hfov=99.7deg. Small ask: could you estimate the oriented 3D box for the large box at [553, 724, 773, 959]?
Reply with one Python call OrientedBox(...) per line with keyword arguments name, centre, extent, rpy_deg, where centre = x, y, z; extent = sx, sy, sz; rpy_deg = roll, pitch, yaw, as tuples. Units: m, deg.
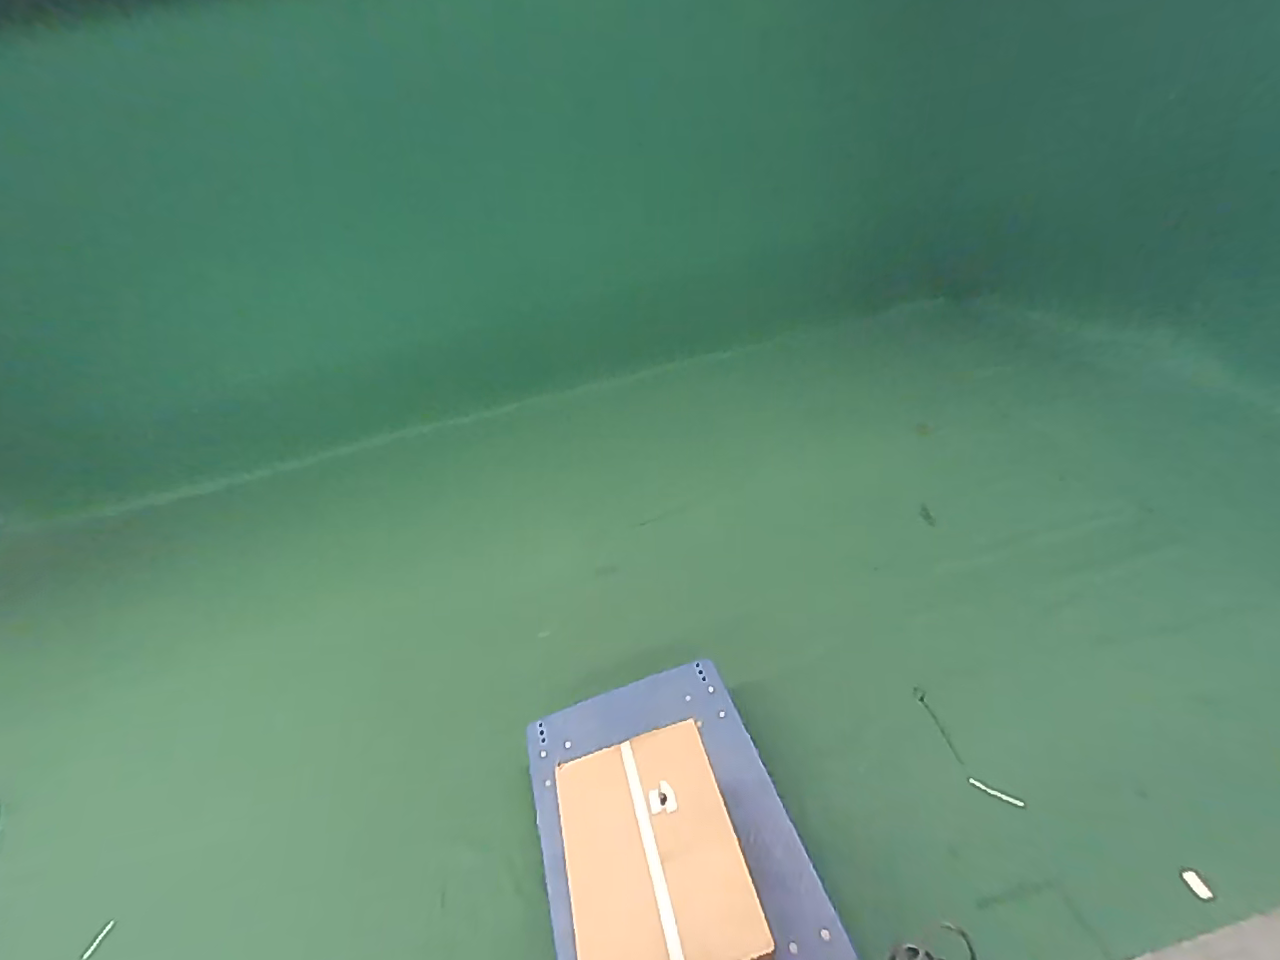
OrientedBox(name="large box", centre=(0.040, 0.792, 1.079), extent=(0.320, 0.320, 0.408), rpy_deg=(-16, 36, -6))
